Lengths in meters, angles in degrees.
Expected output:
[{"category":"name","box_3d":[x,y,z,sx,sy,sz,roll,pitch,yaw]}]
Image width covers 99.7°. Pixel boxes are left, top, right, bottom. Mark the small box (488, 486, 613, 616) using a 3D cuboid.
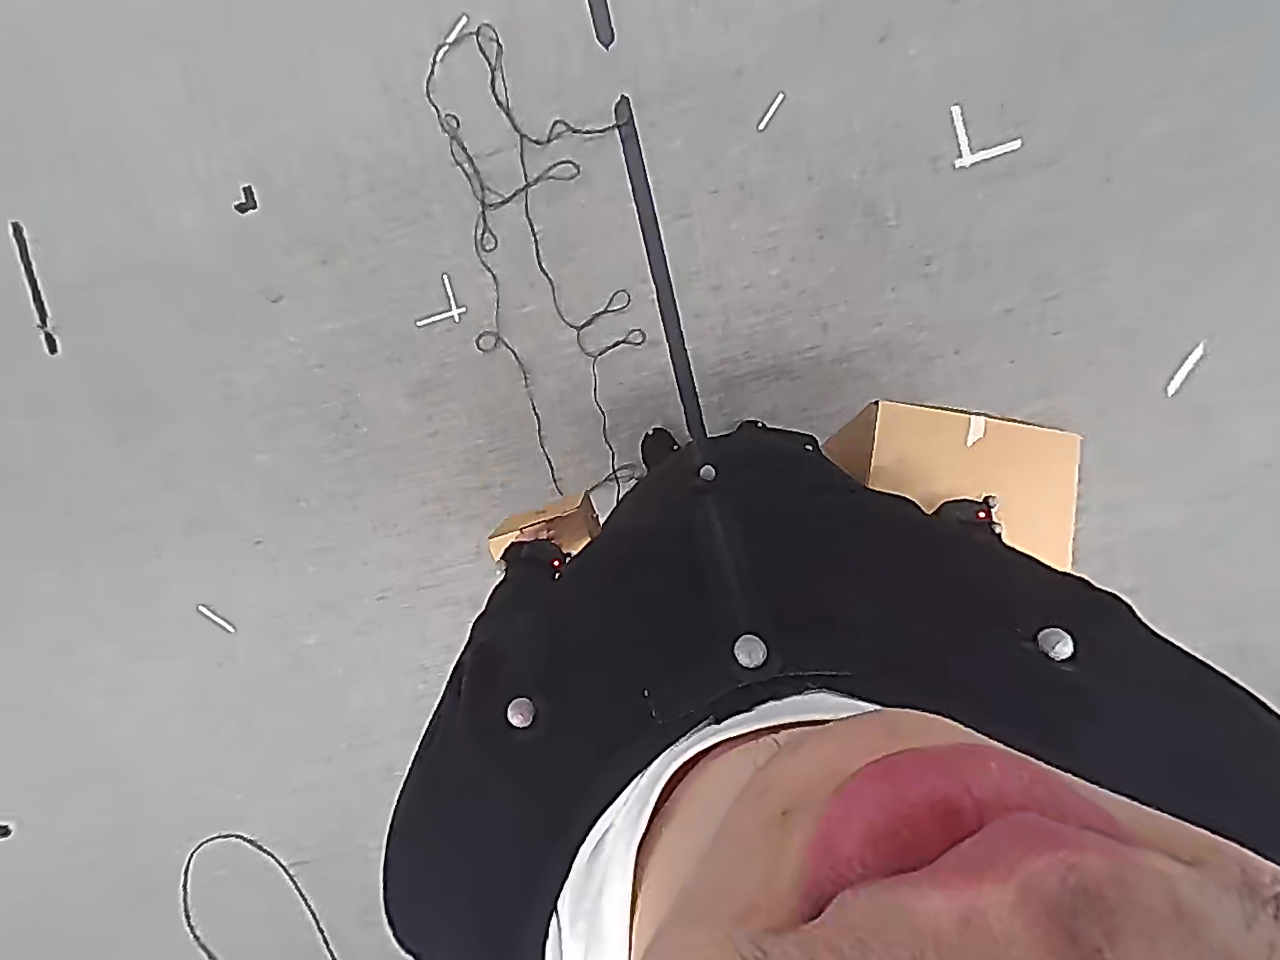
[{"category":"small box","box_3d":[-0.154,0.131,0.996,0.168,0.179,0.176,-19,101,2]}]
